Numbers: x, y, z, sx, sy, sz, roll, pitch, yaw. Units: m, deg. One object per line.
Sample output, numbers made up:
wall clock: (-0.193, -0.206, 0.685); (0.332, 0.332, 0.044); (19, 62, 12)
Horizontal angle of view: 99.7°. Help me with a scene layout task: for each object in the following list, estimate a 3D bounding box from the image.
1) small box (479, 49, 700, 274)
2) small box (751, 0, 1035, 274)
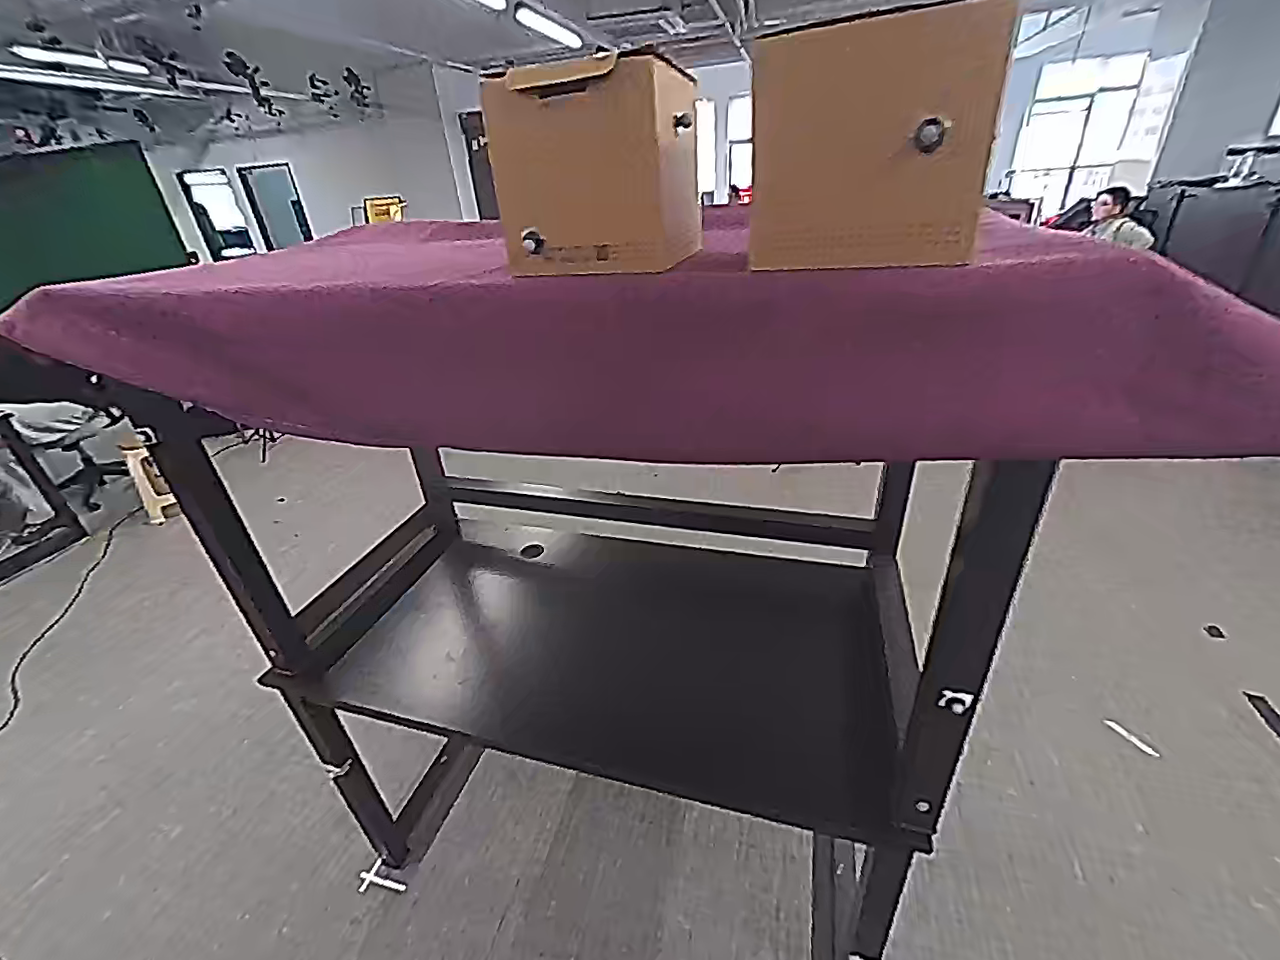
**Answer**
small box: (-0.034, -0.309, 0.555); (0.168, 0.176, 0.179); (5, 29, 17)
small box: (0.199, -0.279, 0.464); (0.179, 0.176, 0.168); (7, 30, 21)
